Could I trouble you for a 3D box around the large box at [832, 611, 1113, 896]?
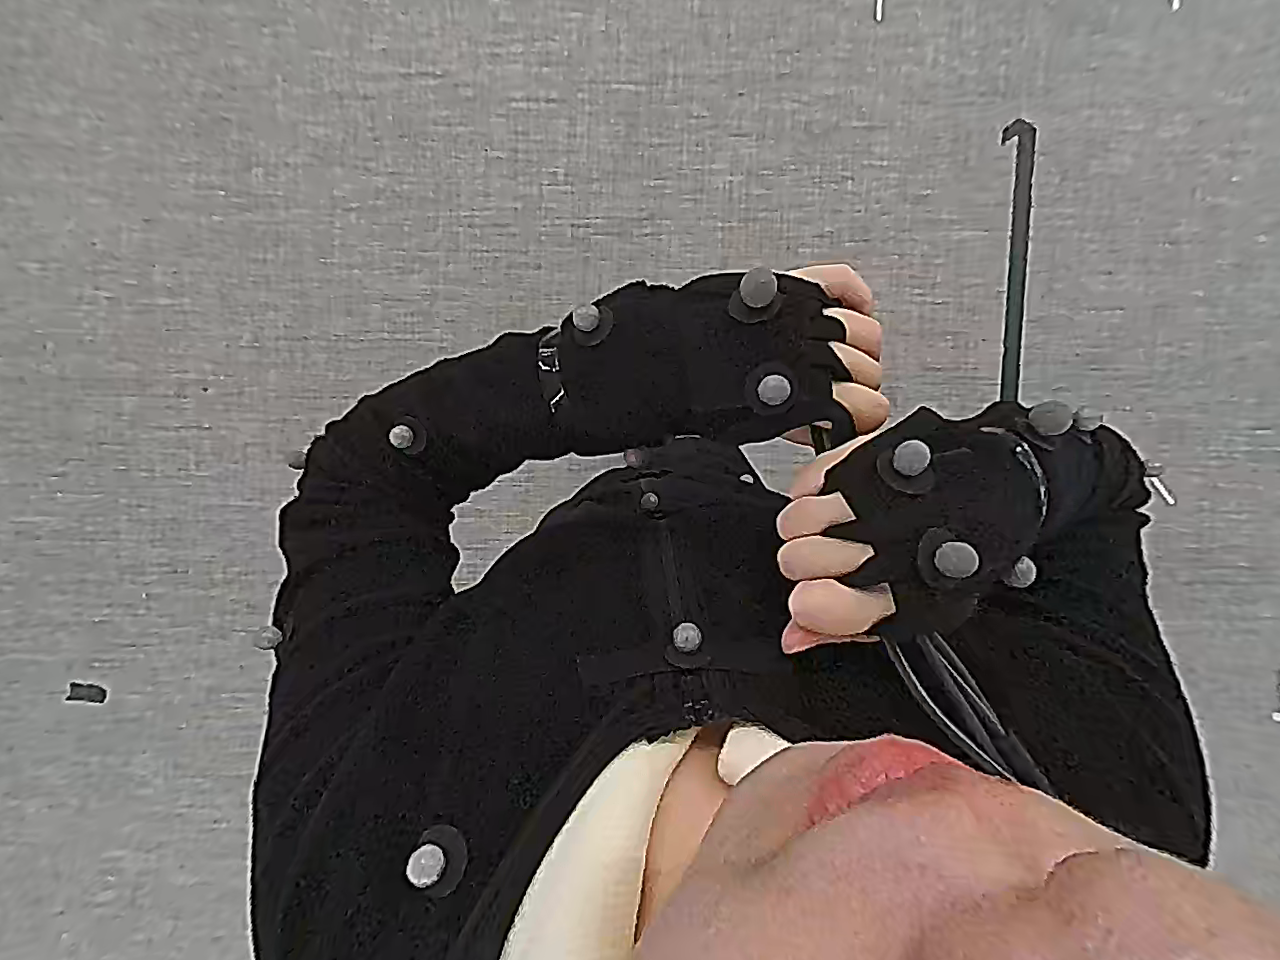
[{"bbox_3d":[0.702,0.571,1.203,0.320,0.320,0.408,-29,94,1],"label":"large box"}]
